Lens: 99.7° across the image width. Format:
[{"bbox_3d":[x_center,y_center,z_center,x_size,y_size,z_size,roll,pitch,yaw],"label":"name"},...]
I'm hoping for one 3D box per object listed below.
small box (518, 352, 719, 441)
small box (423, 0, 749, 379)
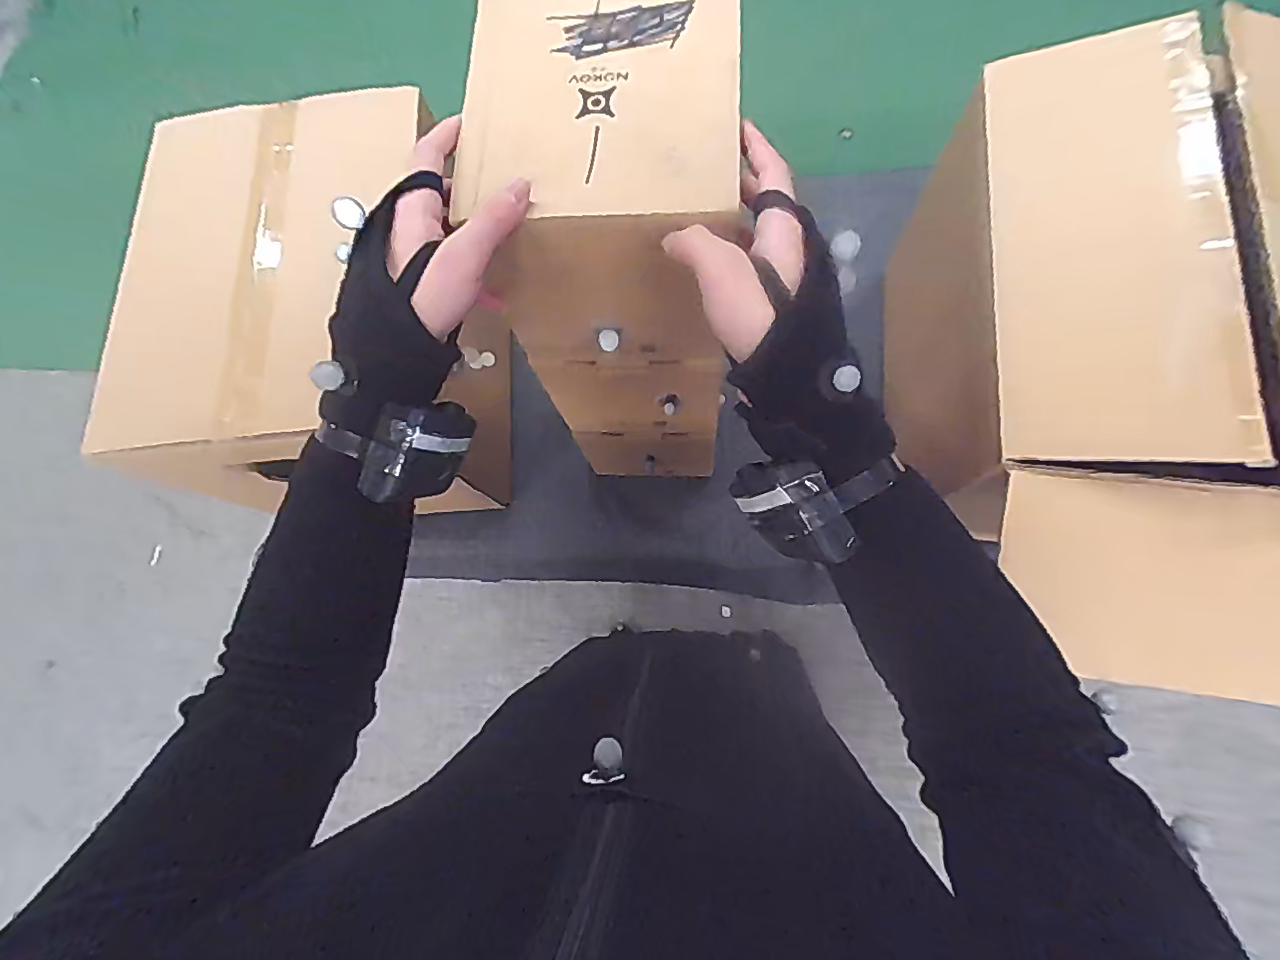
[{"bbox_3d":[-0.007,-0.143,0.523,0.168,0.176,0.179,1,74,5],"label":"small box"},{"bbox_3d":[-0.019,-0.185,0.365,0.168,0.176,0.179,1,77,6],"label":"small box"}]
